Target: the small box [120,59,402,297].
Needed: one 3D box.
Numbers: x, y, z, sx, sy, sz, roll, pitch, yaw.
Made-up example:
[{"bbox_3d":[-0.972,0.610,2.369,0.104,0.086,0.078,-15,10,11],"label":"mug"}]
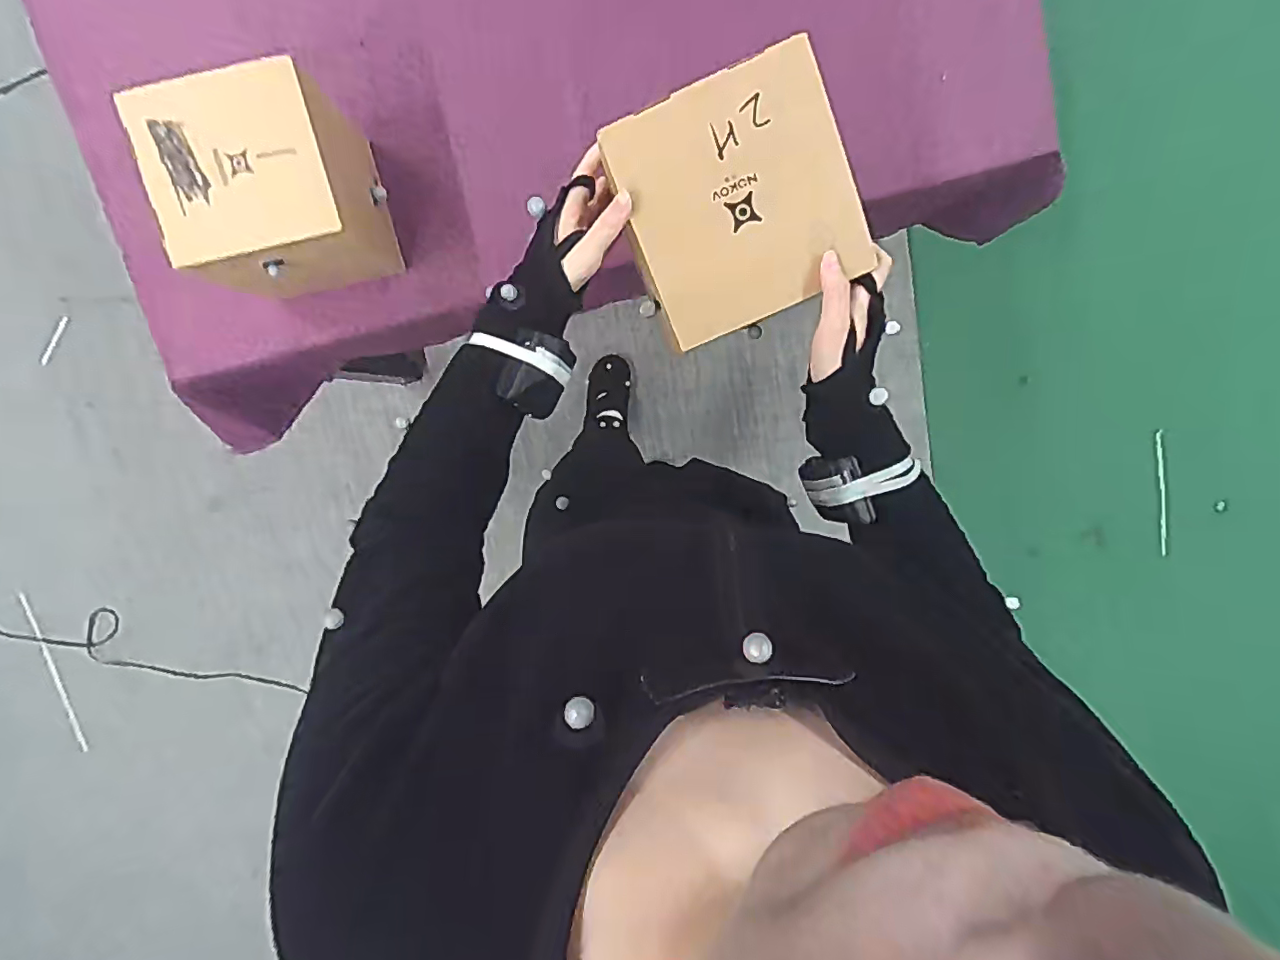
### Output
[{"bbox_3d":[-0.403,-0.319,0.610,0.179,0.176,0.168,-13,98,-1],"label":"small box"}]
